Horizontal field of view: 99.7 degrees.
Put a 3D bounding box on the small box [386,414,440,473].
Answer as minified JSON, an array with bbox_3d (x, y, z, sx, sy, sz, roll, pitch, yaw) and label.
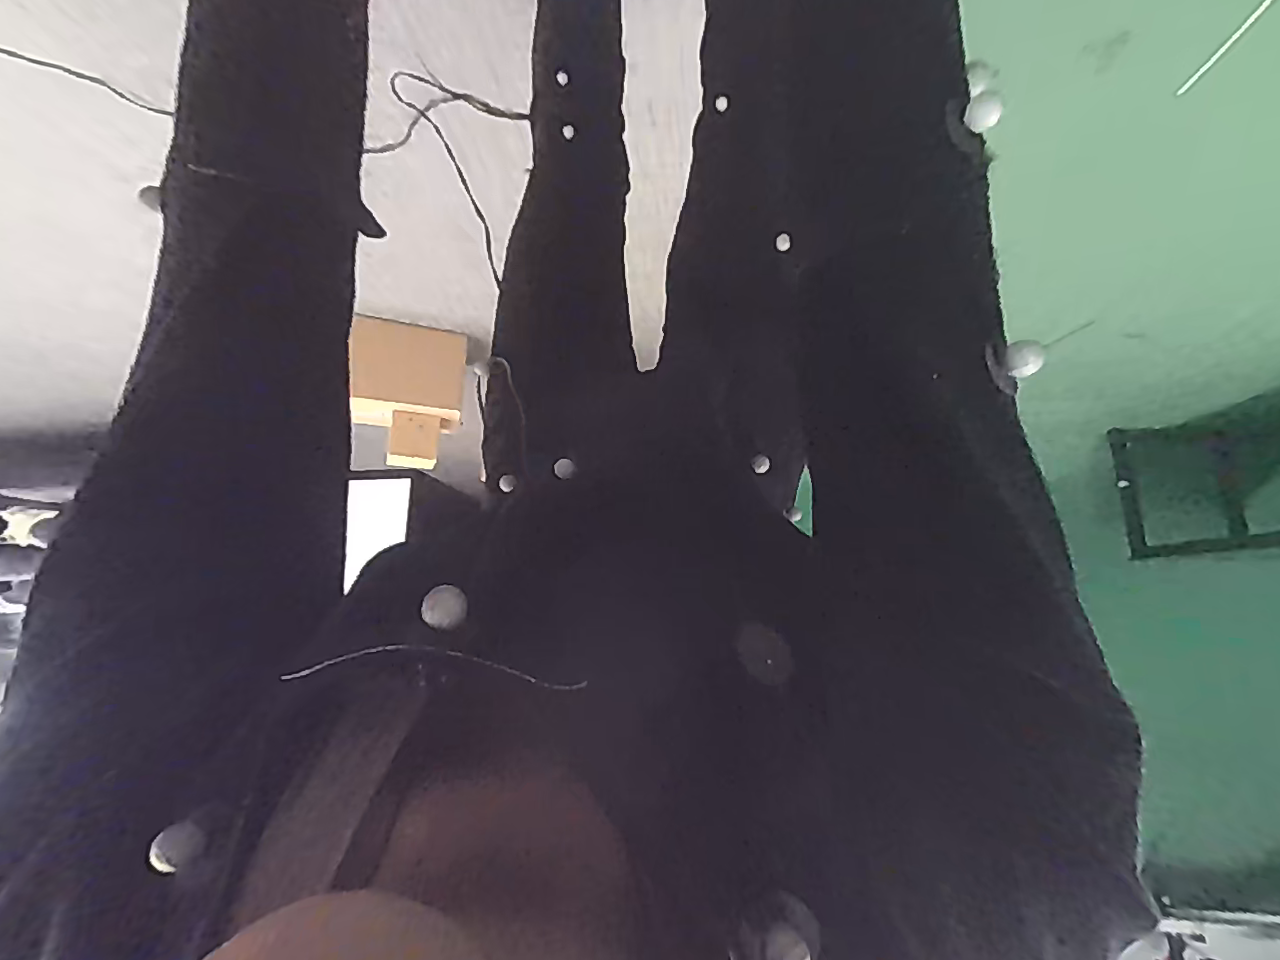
[{"bbox_3d":[-0.848,-0.133,2.020,0.168,0.176,0.179,7,166,-25],"label":"small box"}]

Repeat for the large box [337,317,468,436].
[{"bbox_3d":[-0.882,-0.376,2.051,0.408,0.320,0.320,7,165,-21],"label":"large box"}]
